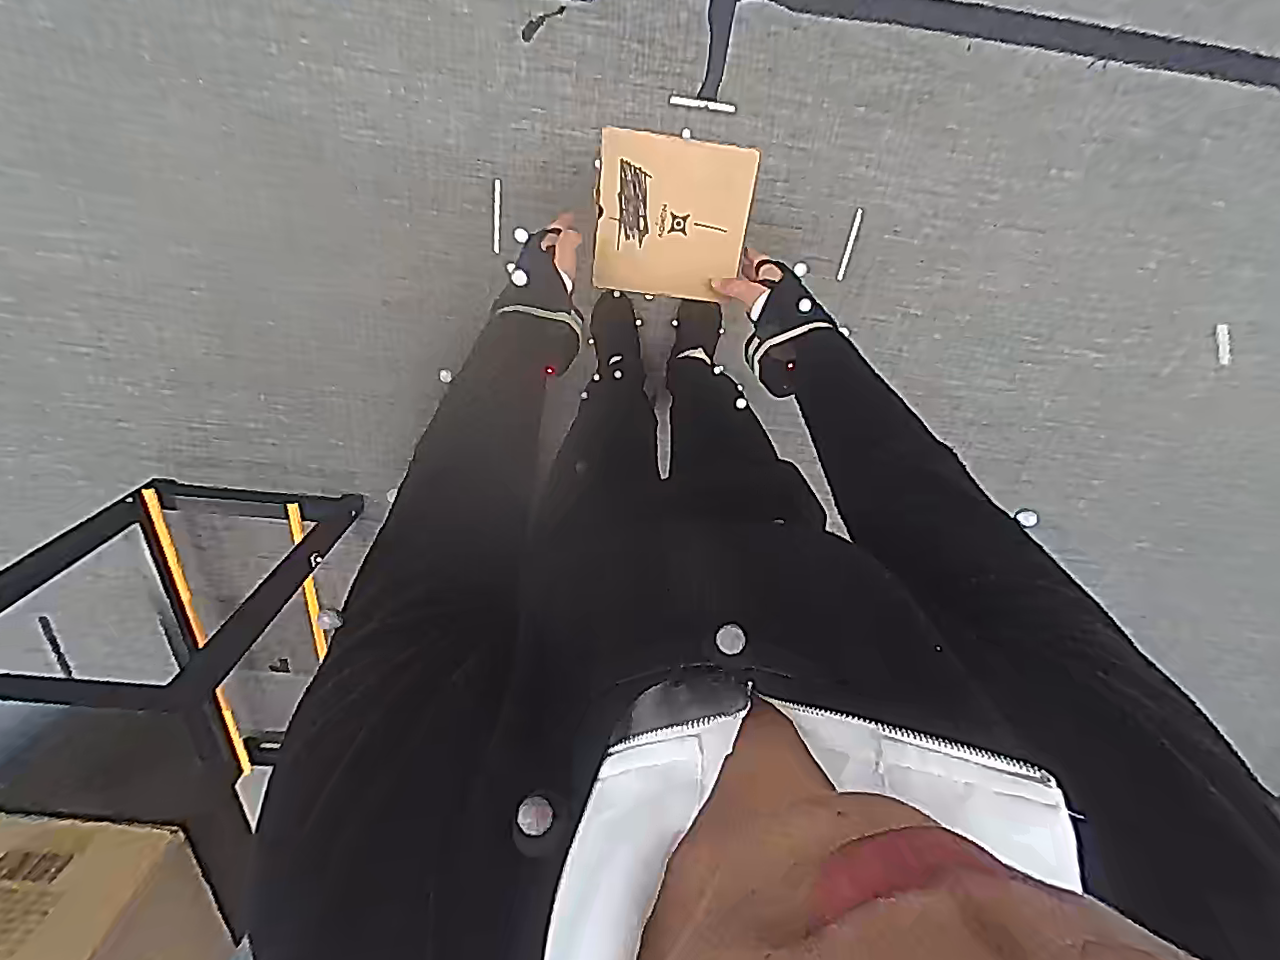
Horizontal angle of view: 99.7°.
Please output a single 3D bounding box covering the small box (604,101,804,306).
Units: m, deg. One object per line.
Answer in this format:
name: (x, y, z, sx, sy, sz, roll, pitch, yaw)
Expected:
small box: (0.057, -0.304, 0.606, 0.179, 0.176, 0.168, 5, 119, -4)
